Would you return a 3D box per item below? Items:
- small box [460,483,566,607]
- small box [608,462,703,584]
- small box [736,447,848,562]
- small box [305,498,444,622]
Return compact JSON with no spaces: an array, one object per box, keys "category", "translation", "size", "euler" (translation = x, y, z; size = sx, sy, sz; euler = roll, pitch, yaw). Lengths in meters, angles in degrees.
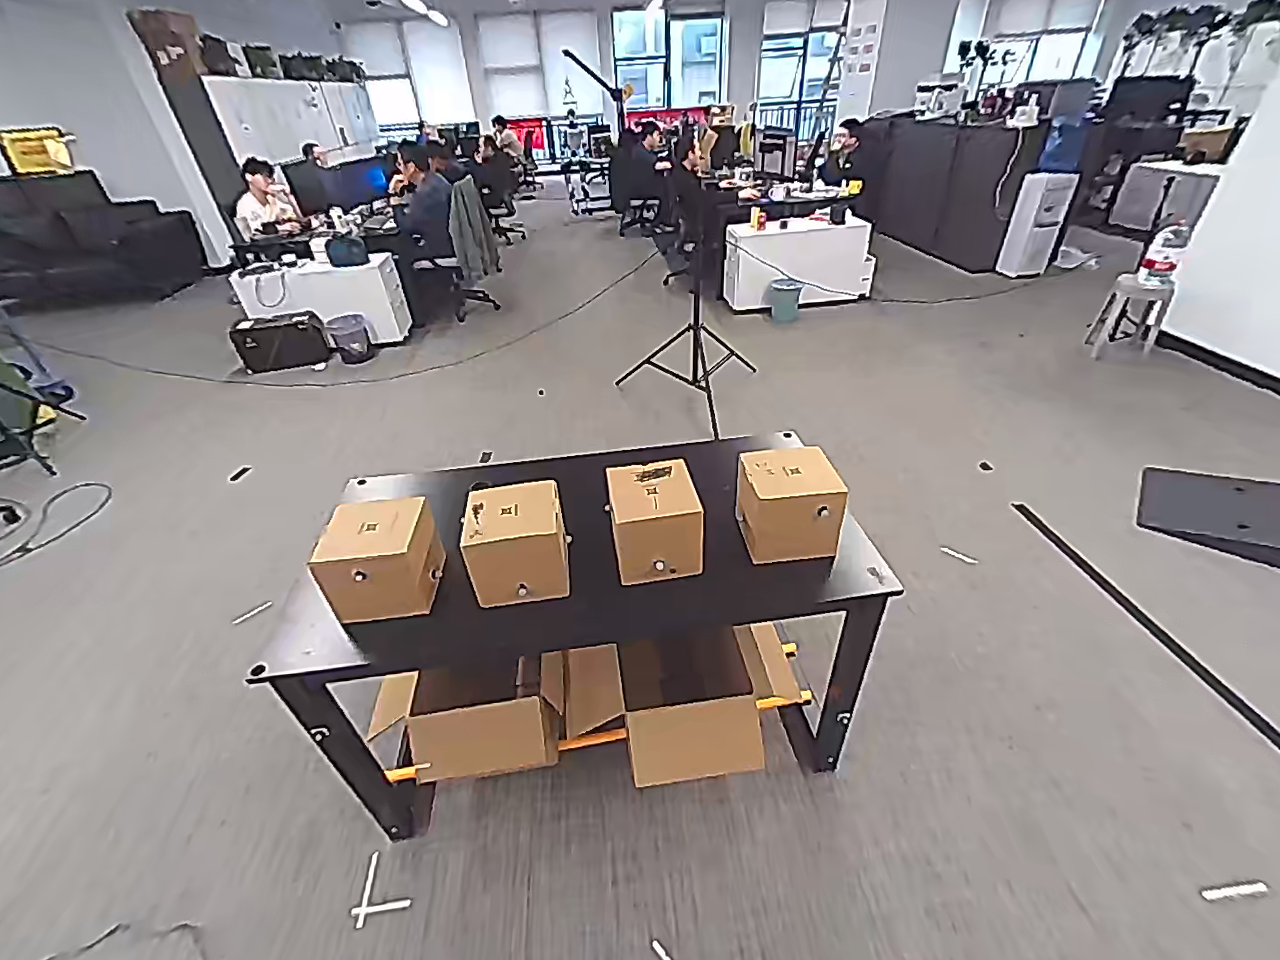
[{"category":"small box","translation":[-0.240,0.128,1.067],"size":[0.179,0.176,0.168],"euler":[-7,36,-6]},{"category":"small box","translation":[0.027,0.086,1.101],"size":[0.168,0.176,0.179],"euler":[-8,36,-6]},{"category":"small box","translation":[0.304,0.051,1.122],"size":[0.179,0.176,0.168],"euler":[-6,35,-2]},{"category":"small box","translation":[-0.501,0.157,1.051],"size":[0.179,0.176,0.168],"euler":[-6,37,-4]}]
